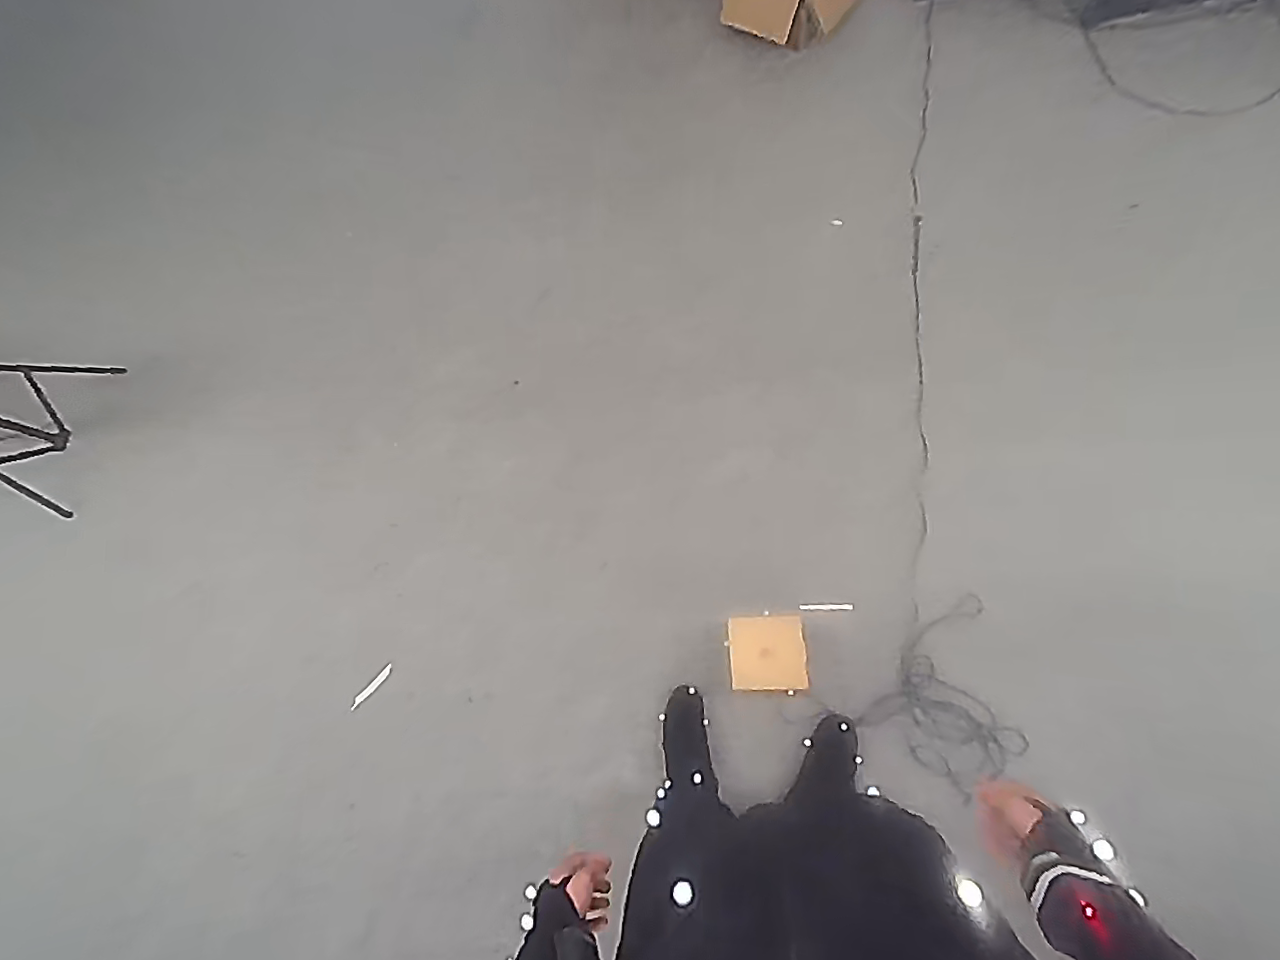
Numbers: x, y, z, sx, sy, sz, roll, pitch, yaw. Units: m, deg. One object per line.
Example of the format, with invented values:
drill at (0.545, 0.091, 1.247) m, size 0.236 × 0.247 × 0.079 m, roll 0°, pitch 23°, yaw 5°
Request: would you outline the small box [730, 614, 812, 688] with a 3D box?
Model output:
small box at (0.321, 0.423, 1.337) m, size 0.179 × 0.176 × 0.168 m, roll -5°, pitch 72°, yaw 10°
